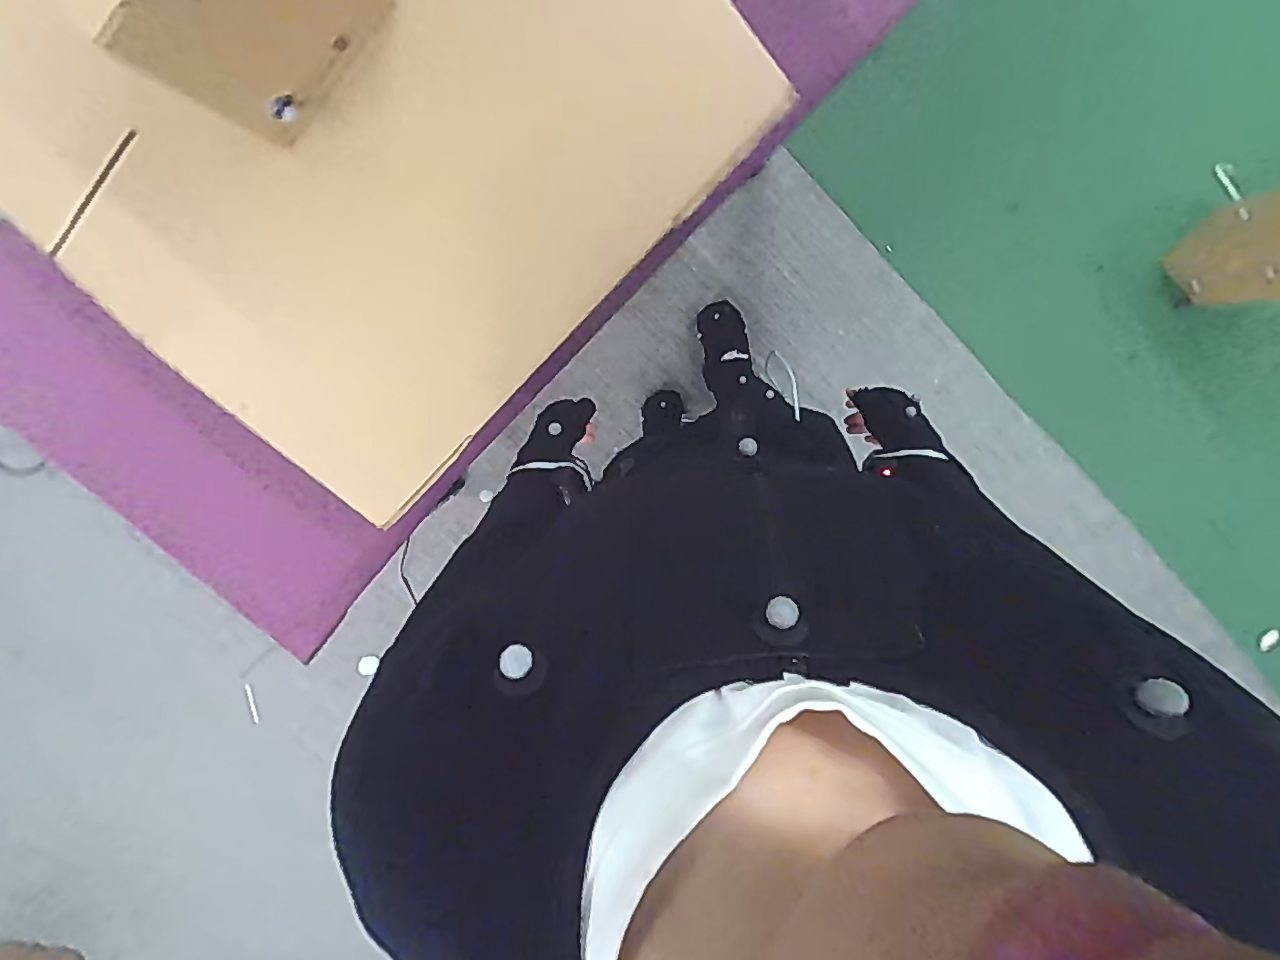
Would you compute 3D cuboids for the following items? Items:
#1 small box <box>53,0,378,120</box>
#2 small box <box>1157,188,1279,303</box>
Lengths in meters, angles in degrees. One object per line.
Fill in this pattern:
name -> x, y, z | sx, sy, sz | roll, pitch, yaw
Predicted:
small box -> -0.331, -0.402, 0.386 | 0.168, 0.176, 0.179 | -44, 96, 11
small box -> 1.367, -0.530, 1.236 | 0.168, 0.176, 0.179 | 41, 101, -8
